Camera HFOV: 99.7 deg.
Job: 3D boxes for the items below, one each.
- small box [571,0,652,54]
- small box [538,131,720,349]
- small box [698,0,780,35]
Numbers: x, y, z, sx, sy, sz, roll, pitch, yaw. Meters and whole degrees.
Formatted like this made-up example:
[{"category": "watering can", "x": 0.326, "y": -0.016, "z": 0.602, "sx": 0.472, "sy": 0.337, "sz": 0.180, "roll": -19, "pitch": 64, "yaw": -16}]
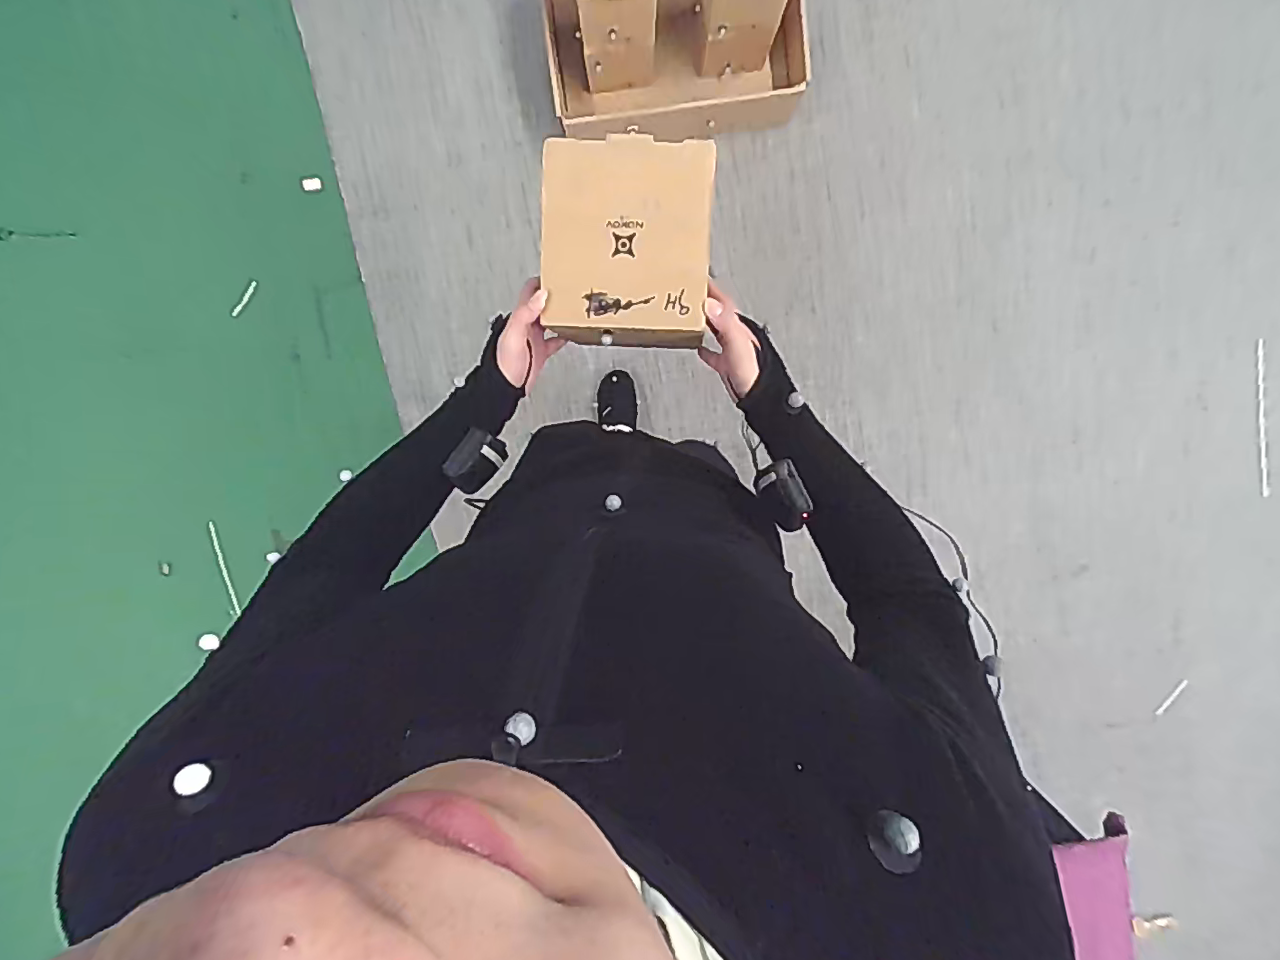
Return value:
[{"category": "small box", "x": -0.068, "y": -1.061, "z": 1.154, "sx": 0.168, "sy": 0.176, "sz": 0.179, "roll": -7, "pitch": 98, "yaw": -1}, {"category": "small box", "x": -0.008, "y": -0.245, "z": 0.592, "sx": 0.168, "sy": 0.176, "sz": 0.179, "roll": 4, "pitch": 98, "yaw": 3}, {"category": "small box", "x": 0.214, "y": -1.093, "z": 1.152, "sx": 0.168, "sy": 0.176, "sz": 0.179, "roll": -5, "pitch": 97, "yaw": 1}]
